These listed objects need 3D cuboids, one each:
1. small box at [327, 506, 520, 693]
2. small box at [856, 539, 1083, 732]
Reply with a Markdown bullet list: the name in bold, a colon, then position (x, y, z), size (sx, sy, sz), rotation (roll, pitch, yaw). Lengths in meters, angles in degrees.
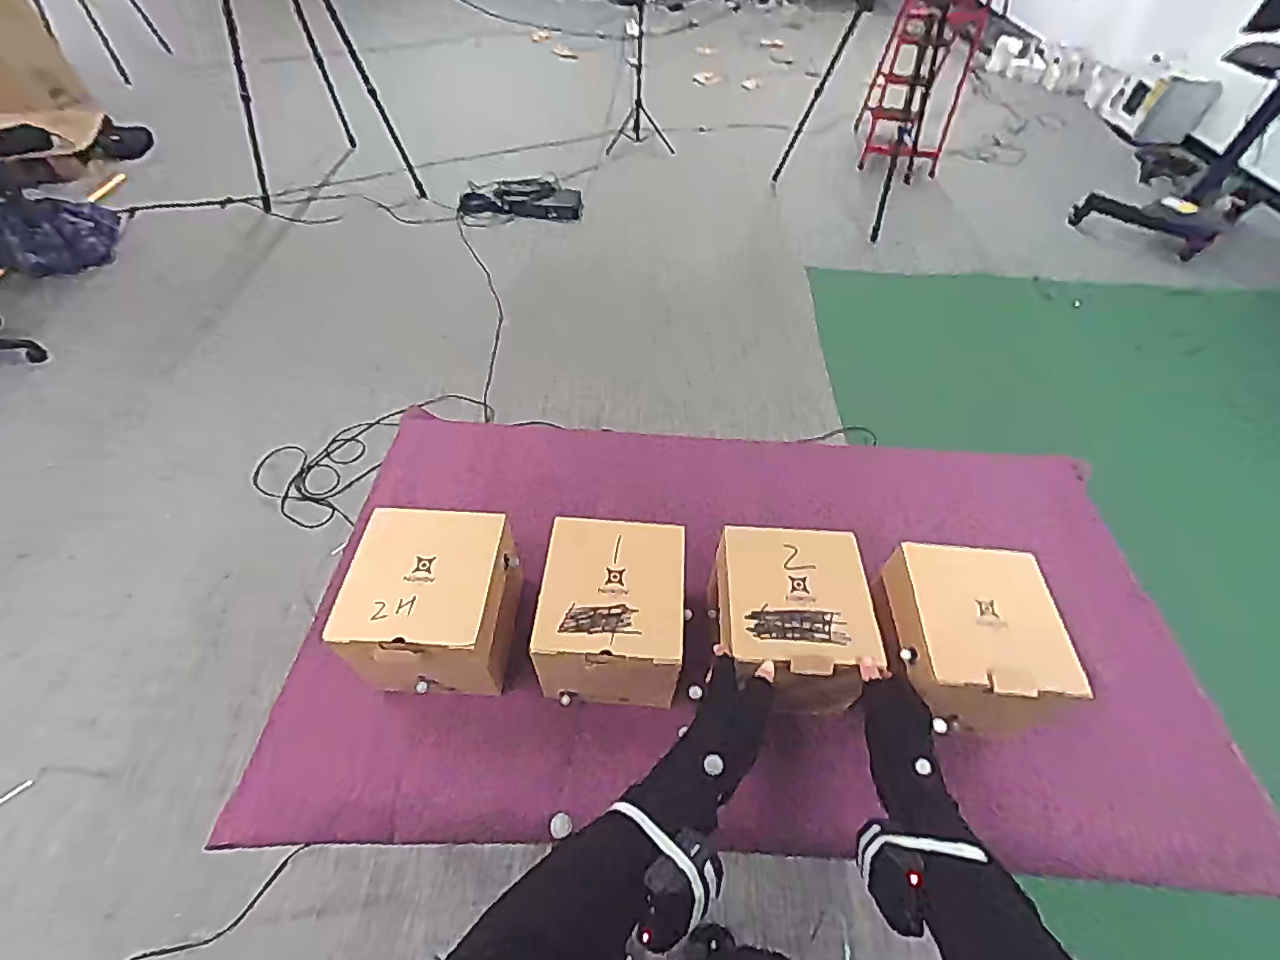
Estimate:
- **small box**: position (-0.256, 0.155, 0.693), size (0.168, 0.176, 0.179), rotation (3, 52, 0)
- **small box**: position (0.392, 0.199, 0.687), size (0.168, 0.176, 0.179), rotation (5, 52, 1)
